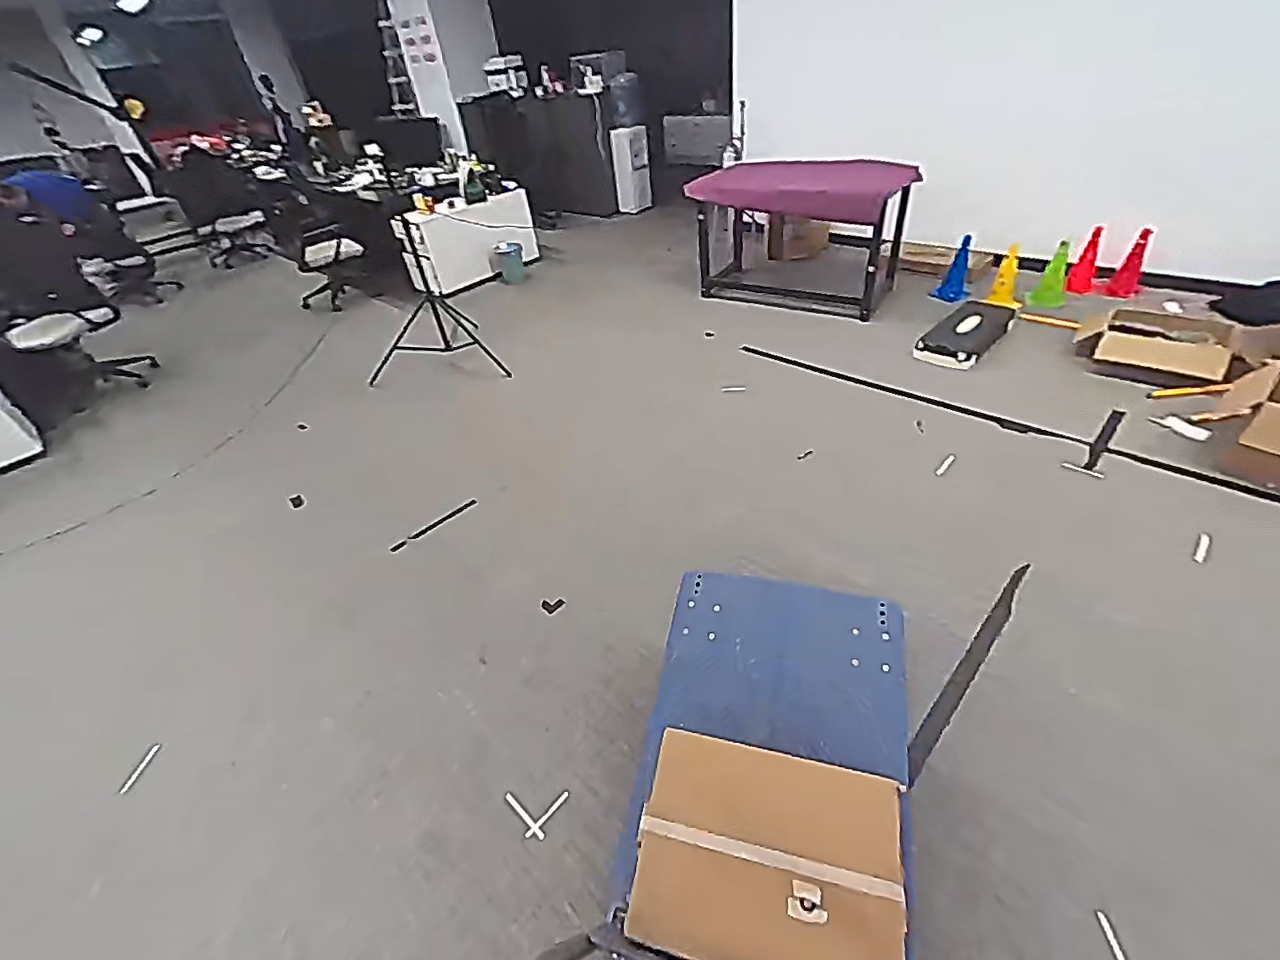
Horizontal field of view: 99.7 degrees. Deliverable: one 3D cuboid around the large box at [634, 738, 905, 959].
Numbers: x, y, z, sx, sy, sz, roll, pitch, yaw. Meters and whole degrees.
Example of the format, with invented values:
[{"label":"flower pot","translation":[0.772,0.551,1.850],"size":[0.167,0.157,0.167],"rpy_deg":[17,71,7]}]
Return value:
[{"label":"large box","translation":[0.230,0.708,0.992],"size":[0.408,0.320,0.320],"rpy_deg":[5,54,14]}]
